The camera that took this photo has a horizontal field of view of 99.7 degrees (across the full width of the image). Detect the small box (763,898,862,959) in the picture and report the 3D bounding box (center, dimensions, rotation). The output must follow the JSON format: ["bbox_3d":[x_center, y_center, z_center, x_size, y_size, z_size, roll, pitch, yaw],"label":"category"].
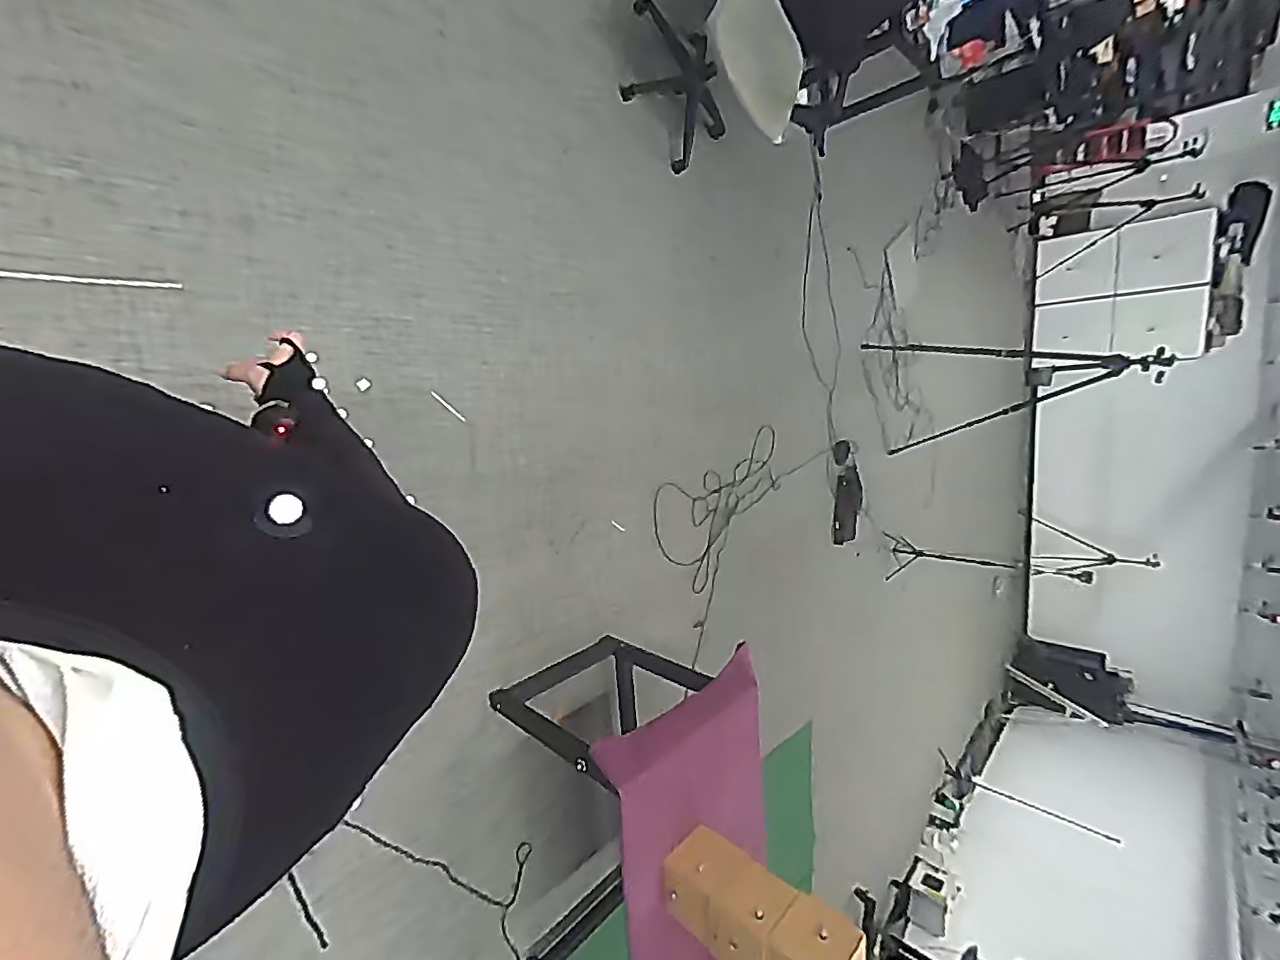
[{"bbox_3d":[0.408,1.157,1.283,0.179,0.176,0.168,-13,102,-44],"label":"small box"}]

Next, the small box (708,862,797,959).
[{"bbox_3d":[0.286,1.147,1.393,0.179,0.176,0.168,-10,102,-44],"label":"small box"}]
